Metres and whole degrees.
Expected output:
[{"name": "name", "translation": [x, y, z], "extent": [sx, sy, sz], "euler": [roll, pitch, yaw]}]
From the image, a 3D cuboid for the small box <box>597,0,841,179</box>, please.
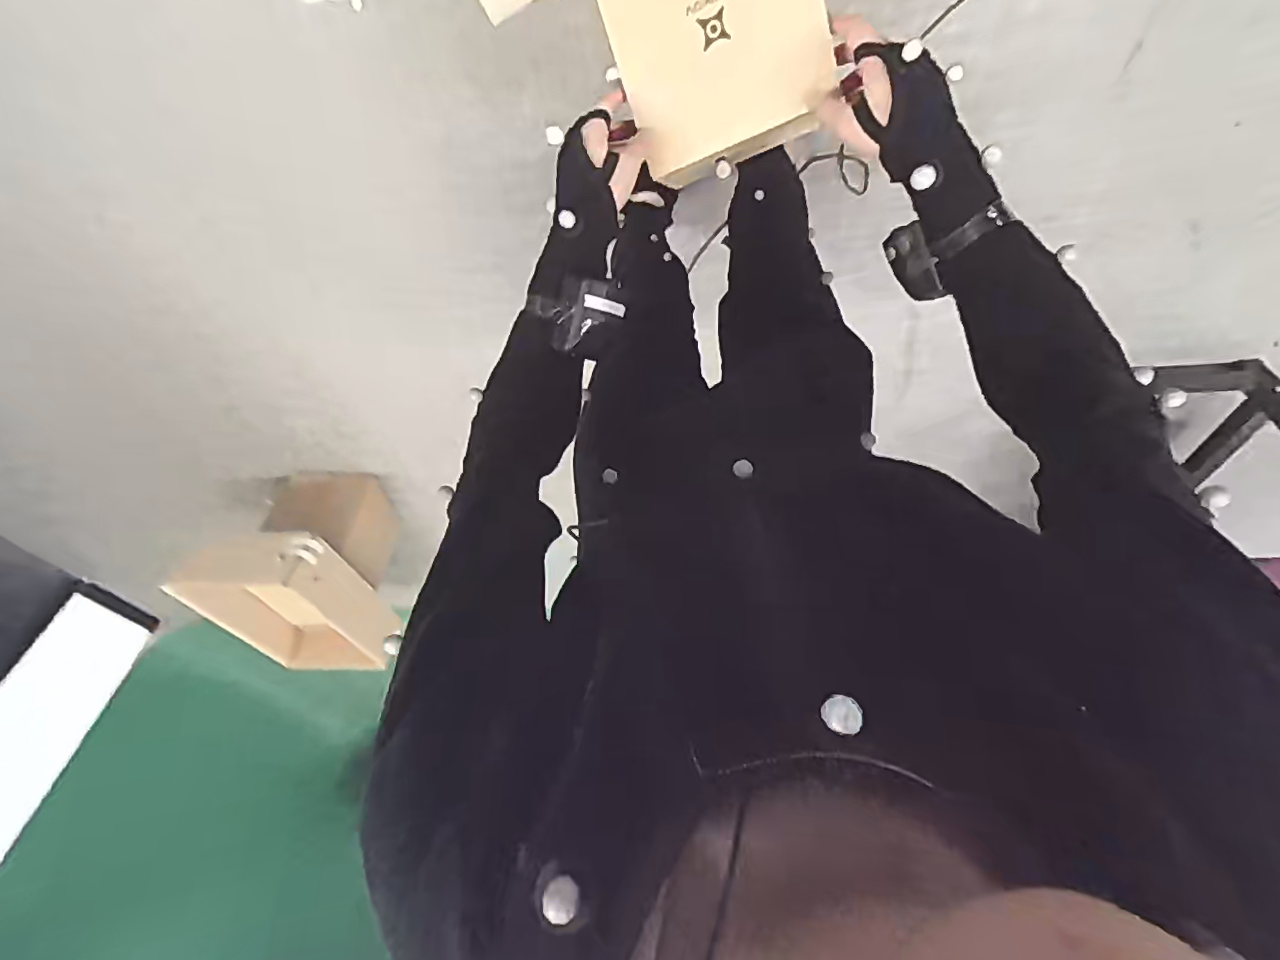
[{"name": "small box", "translation": [0.072, -0.391, 0.486], "extent": [0.168, 0.176, 0.179], "euler": [-14, 110, 18]}]
